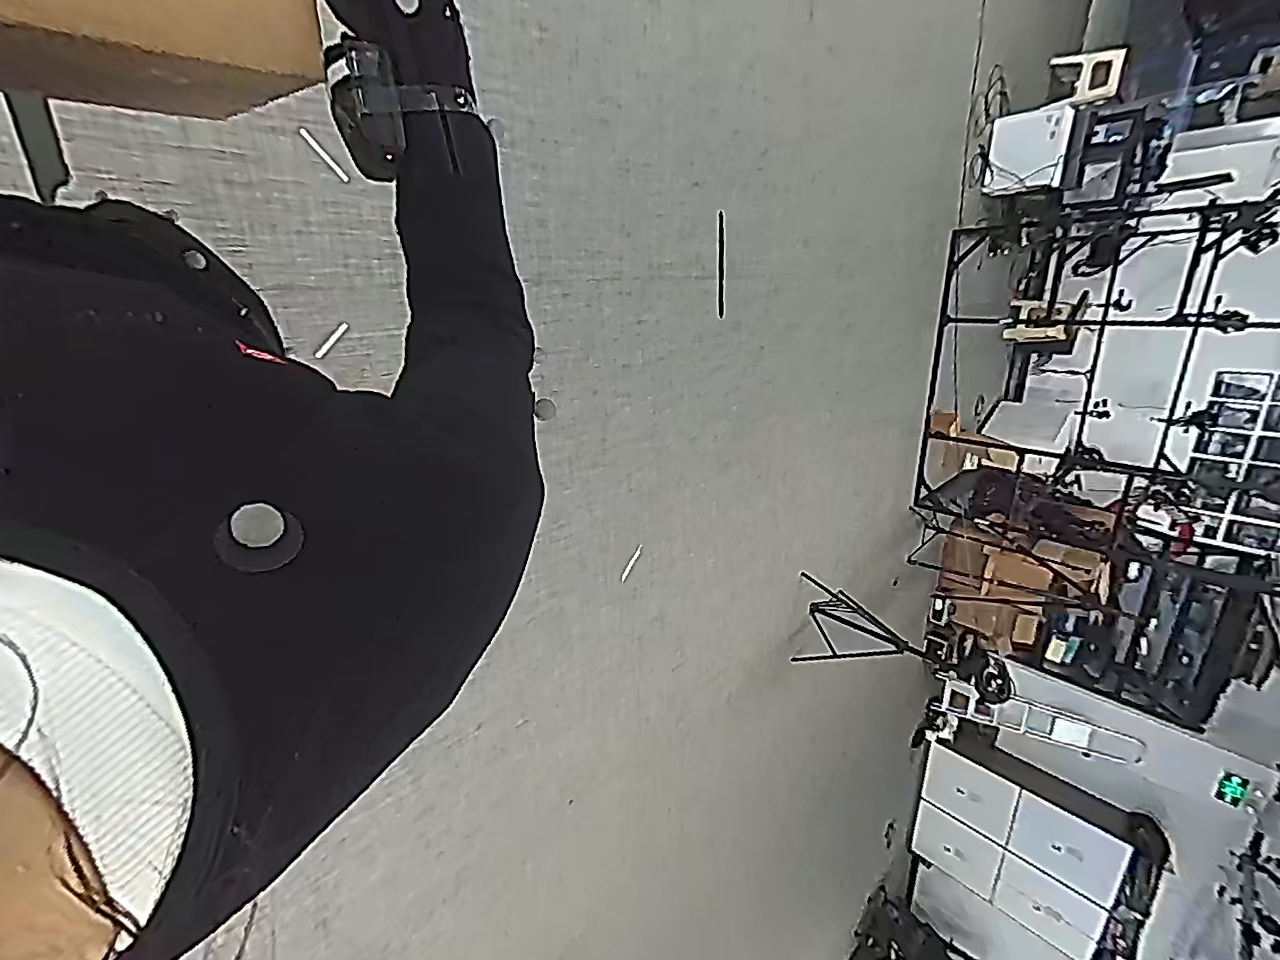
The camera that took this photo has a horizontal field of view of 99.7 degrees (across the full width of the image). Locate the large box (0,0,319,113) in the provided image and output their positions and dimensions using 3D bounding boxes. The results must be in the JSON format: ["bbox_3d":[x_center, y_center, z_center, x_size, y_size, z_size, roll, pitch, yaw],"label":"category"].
[{"bbox_3d":[-0.440,-0.384,0.240,0.408,0.320,0.320,-22,126,-40],"label":"large box"}]
